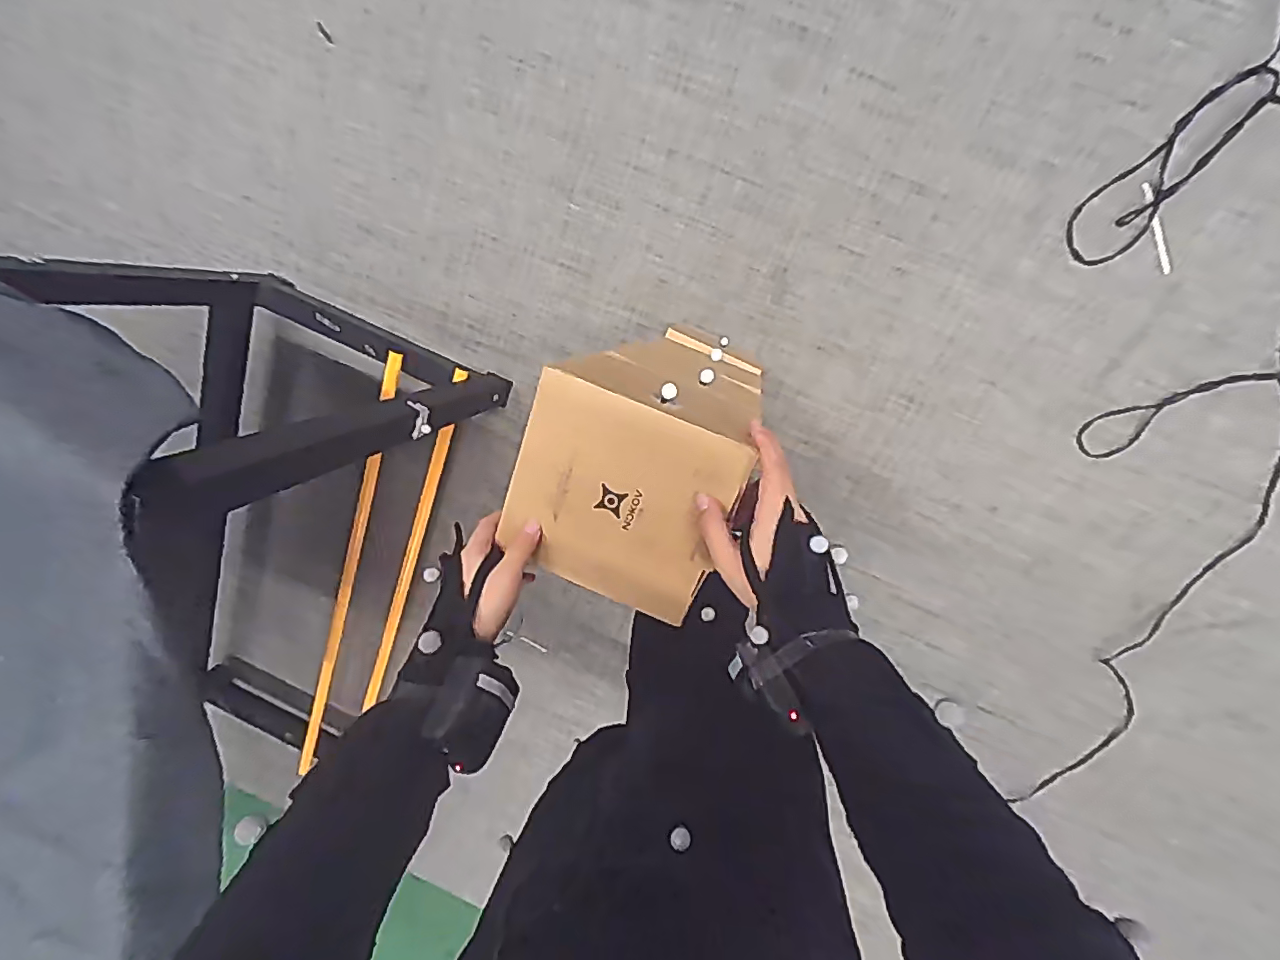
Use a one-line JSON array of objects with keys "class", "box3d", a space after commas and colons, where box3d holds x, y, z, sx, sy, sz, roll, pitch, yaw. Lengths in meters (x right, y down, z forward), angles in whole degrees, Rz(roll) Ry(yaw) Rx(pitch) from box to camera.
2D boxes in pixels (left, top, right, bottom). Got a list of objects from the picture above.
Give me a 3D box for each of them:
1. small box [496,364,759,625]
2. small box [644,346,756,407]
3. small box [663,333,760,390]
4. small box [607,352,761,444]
[{"class": "small box", "box3d": [-0.002, -0.003, 0.505, 0.179, 0.176, 0.168, 22, 108, 5]}, {"class": "small box", "box3d": [0.067, -0.090, 0.815, 0.168, 0.176, 0.179, 23, 109, 4]}, {"class": "small box", "box3d": [0.099, -0.149, 0.964, 0.168, 0.176, 0.179, 26, 110, 4]}, {"class": "small box", "box3d": [0.031, -0.049, 0.659, 0.179, 0.176, 0.168, 25, 109, 2]}]
